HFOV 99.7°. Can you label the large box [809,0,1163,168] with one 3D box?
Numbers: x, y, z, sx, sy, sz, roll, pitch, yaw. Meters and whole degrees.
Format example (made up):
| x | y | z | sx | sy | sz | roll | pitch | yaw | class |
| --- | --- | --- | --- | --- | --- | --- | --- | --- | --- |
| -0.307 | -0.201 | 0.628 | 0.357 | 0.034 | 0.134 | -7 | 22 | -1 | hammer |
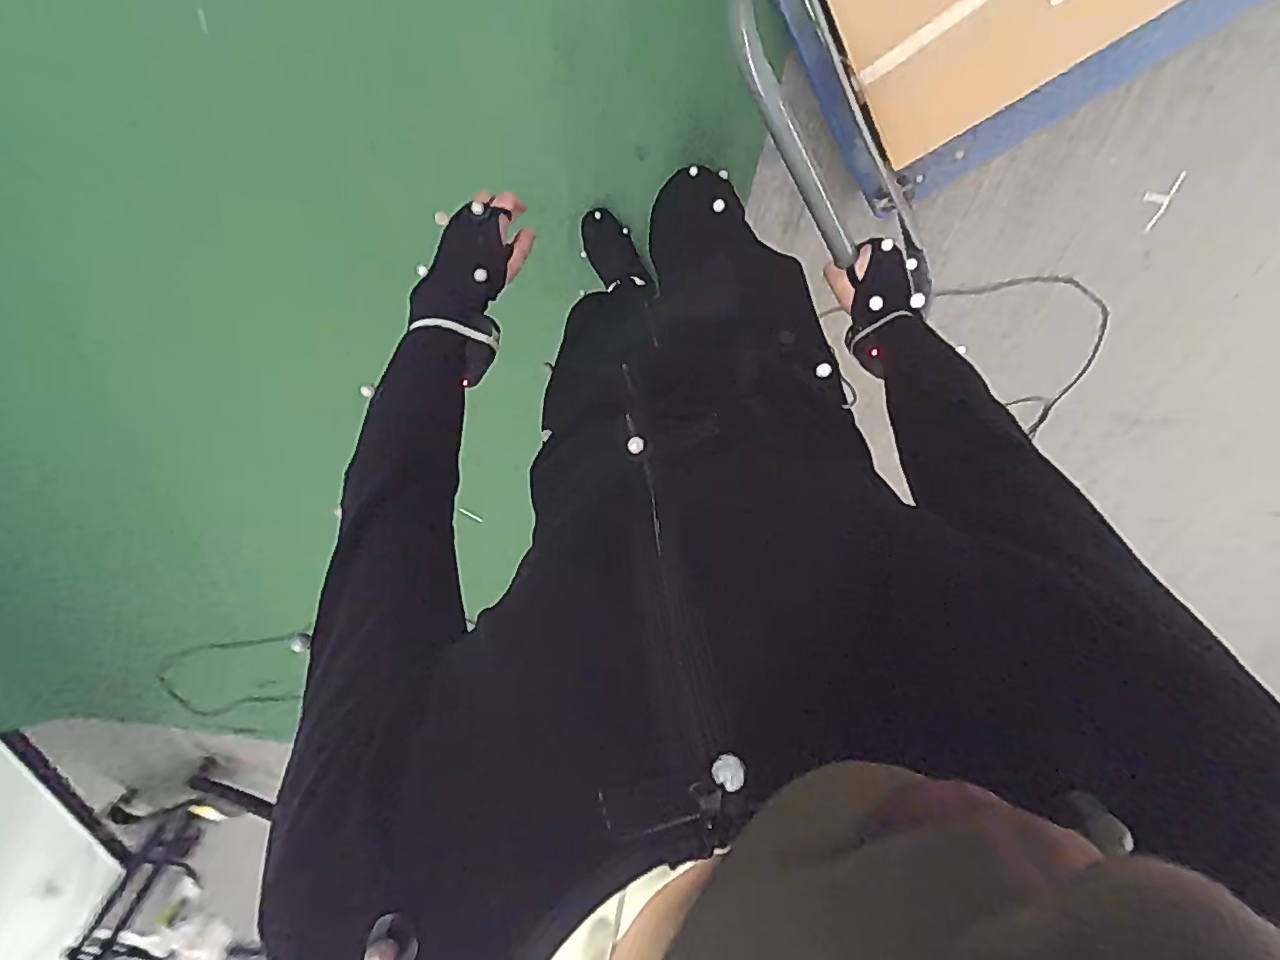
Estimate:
| x | y | z | sx | sy | sz | roll | pitch | yaw | class |
| --- | --- | --- | --- | --- | --- | --- | --- | --- | --- |
| 0.520 | -0.792 | 0.860 | 0.408 | 0.320 | 0.320 | -23 | 122 | 30 | large box |
